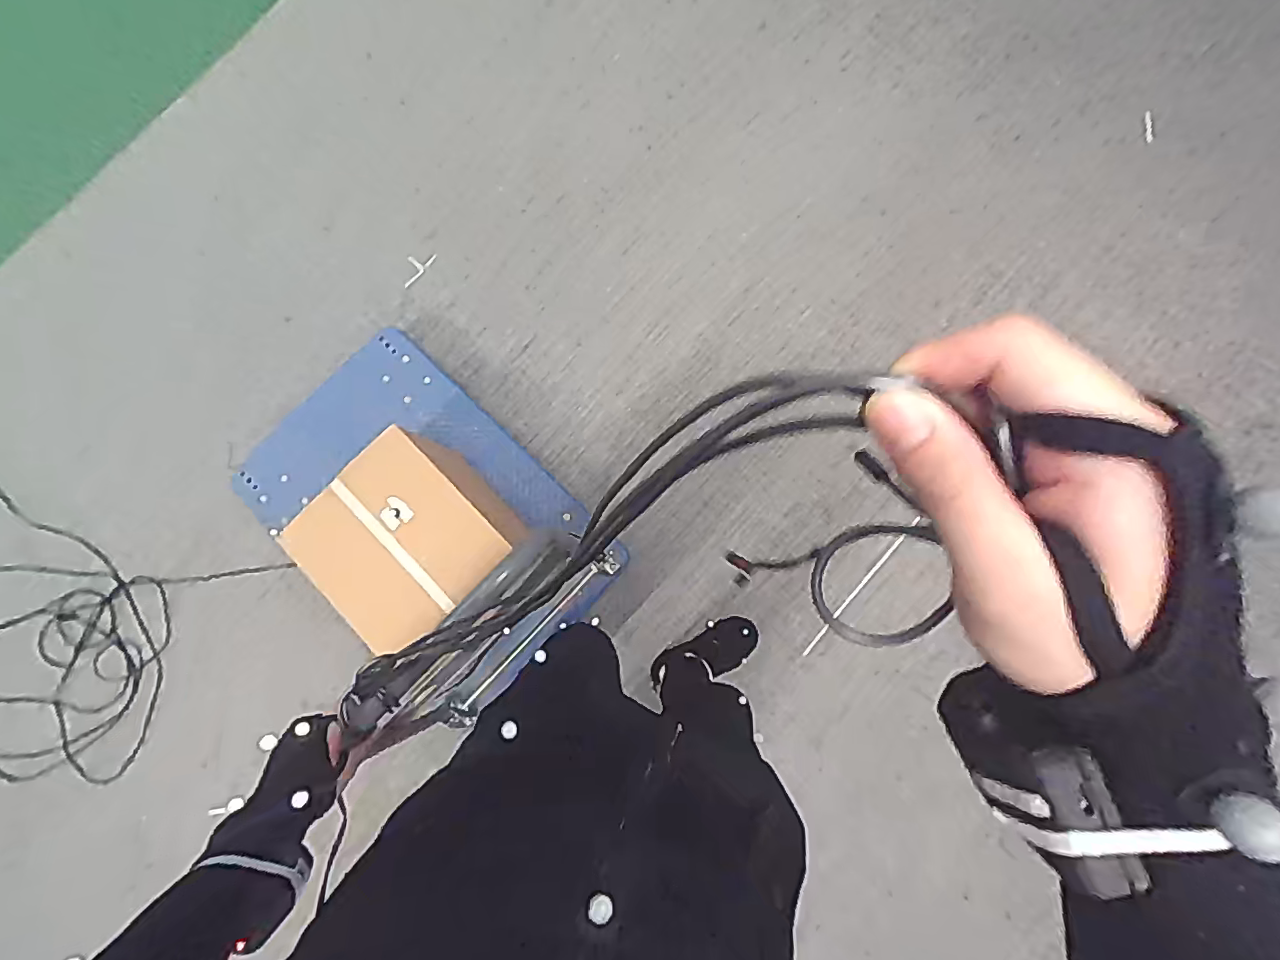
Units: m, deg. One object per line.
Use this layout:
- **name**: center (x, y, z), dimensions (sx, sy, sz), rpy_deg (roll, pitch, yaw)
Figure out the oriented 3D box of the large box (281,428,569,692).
- **large box**: center (-0.417, 0.159, 1.138), dimensions (0.408, 0.320, 0.320), rpy_deg (44, 86, 8)
